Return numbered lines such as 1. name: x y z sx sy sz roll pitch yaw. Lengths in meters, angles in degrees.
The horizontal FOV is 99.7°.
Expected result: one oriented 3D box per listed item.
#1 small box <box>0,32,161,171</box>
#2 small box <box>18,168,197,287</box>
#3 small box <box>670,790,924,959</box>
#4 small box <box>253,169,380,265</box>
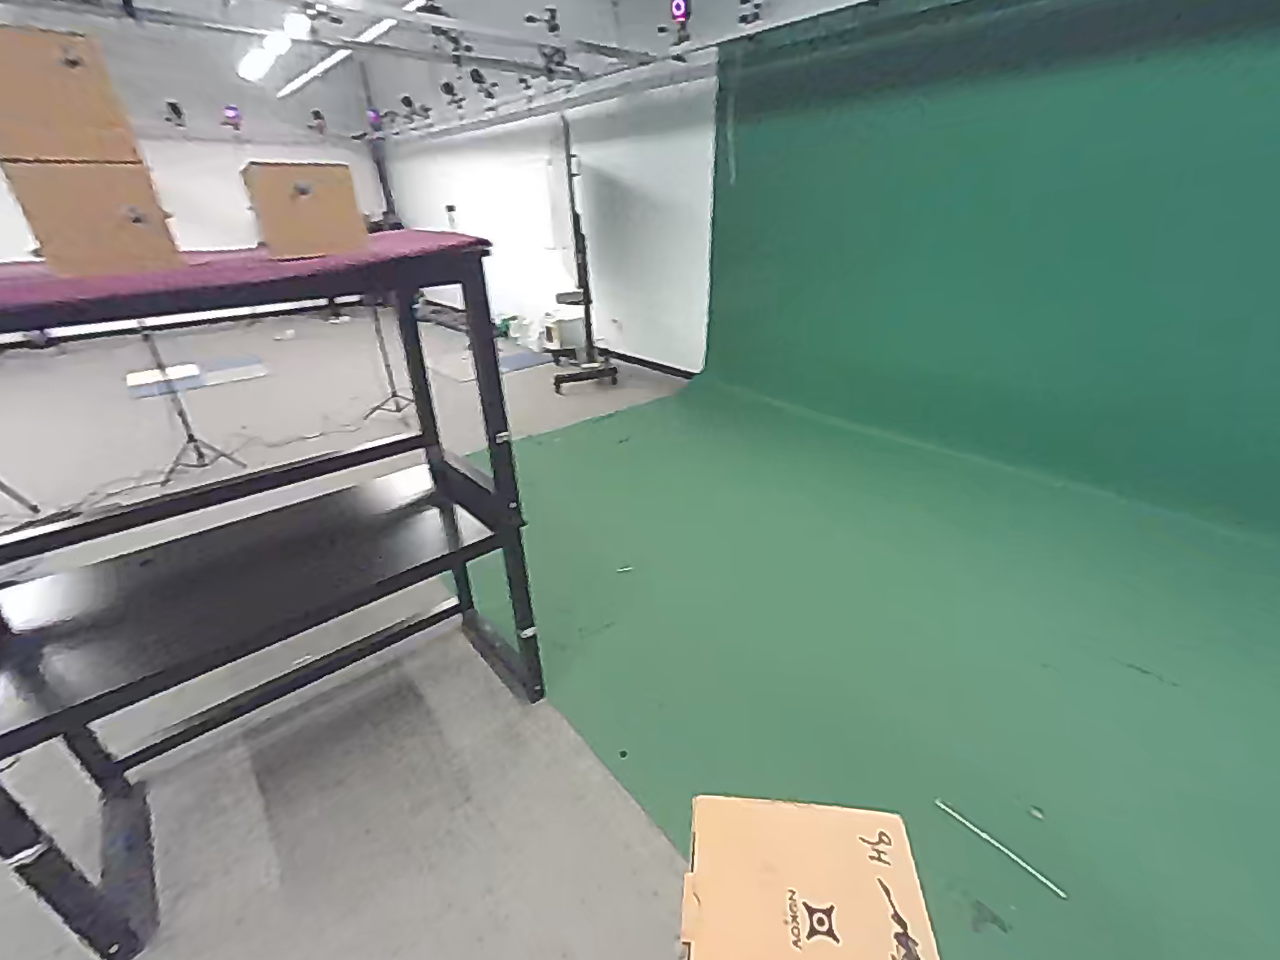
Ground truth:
1. small box: -0.917 -0.583 0.864 0.179 0.176 0.168 -24 34 -38
2. small box: -0.907 -0.439 0.940 0.179 0.176 0.168 -24 34 -35
3. small box: 0.118 0.387 0.442 0.179 0.176 0.168 1 32 8
4. small box: -0.680 -0.550 1.143 0.179 0.176 0.168 -21 31 -34
